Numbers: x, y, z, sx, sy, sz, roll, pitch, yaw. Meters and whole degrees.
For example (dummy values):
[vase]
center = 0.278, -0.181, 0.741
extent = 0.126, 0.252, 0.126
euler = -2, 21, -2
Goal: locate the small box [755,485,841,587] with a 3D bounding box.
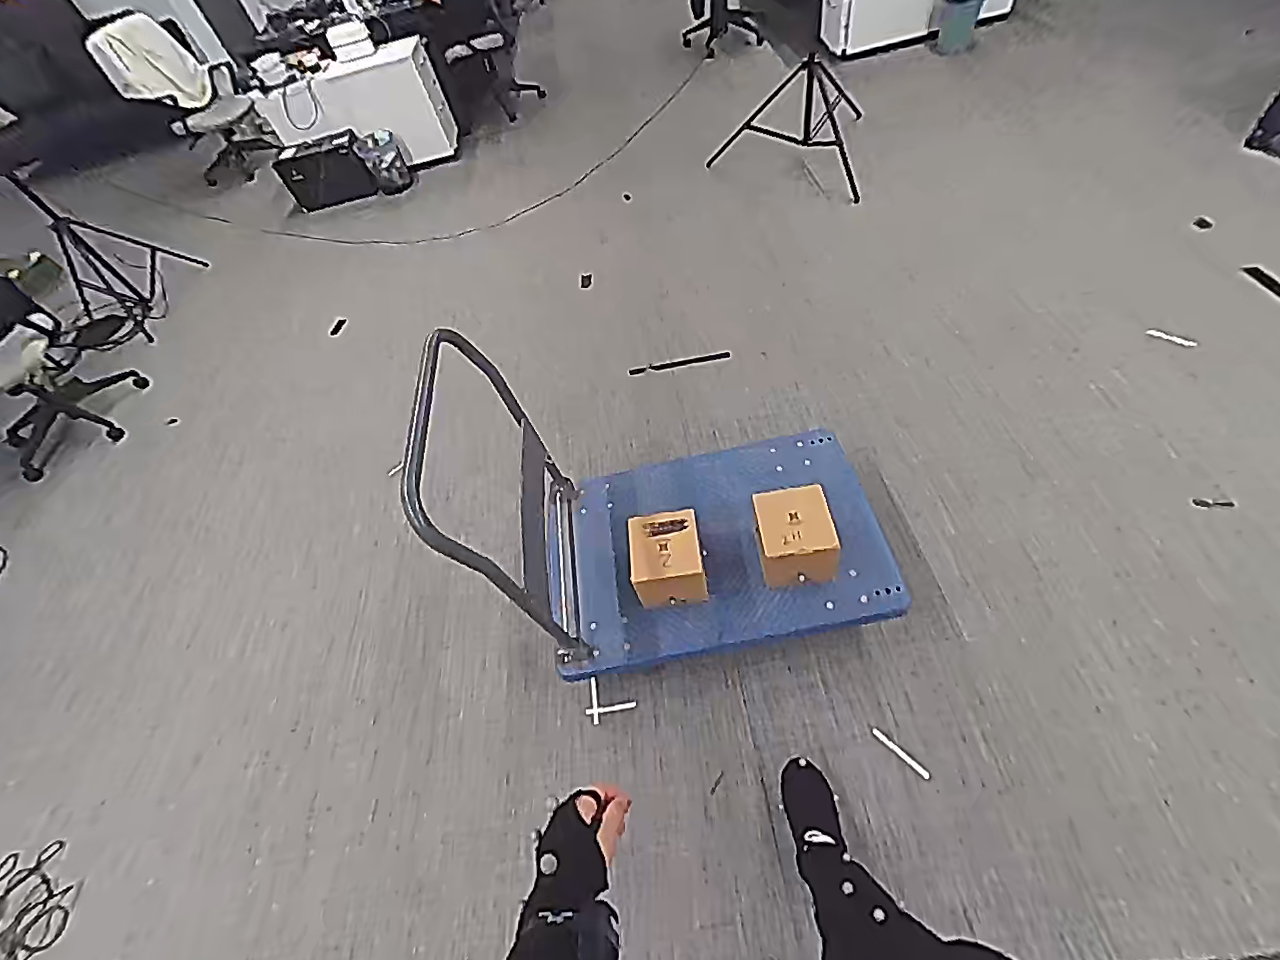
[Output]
[small box]
center = 0.376, 0.139, 1.315
extent = 0.168, 0.176, 0.179
euler = -9, 53, 7
